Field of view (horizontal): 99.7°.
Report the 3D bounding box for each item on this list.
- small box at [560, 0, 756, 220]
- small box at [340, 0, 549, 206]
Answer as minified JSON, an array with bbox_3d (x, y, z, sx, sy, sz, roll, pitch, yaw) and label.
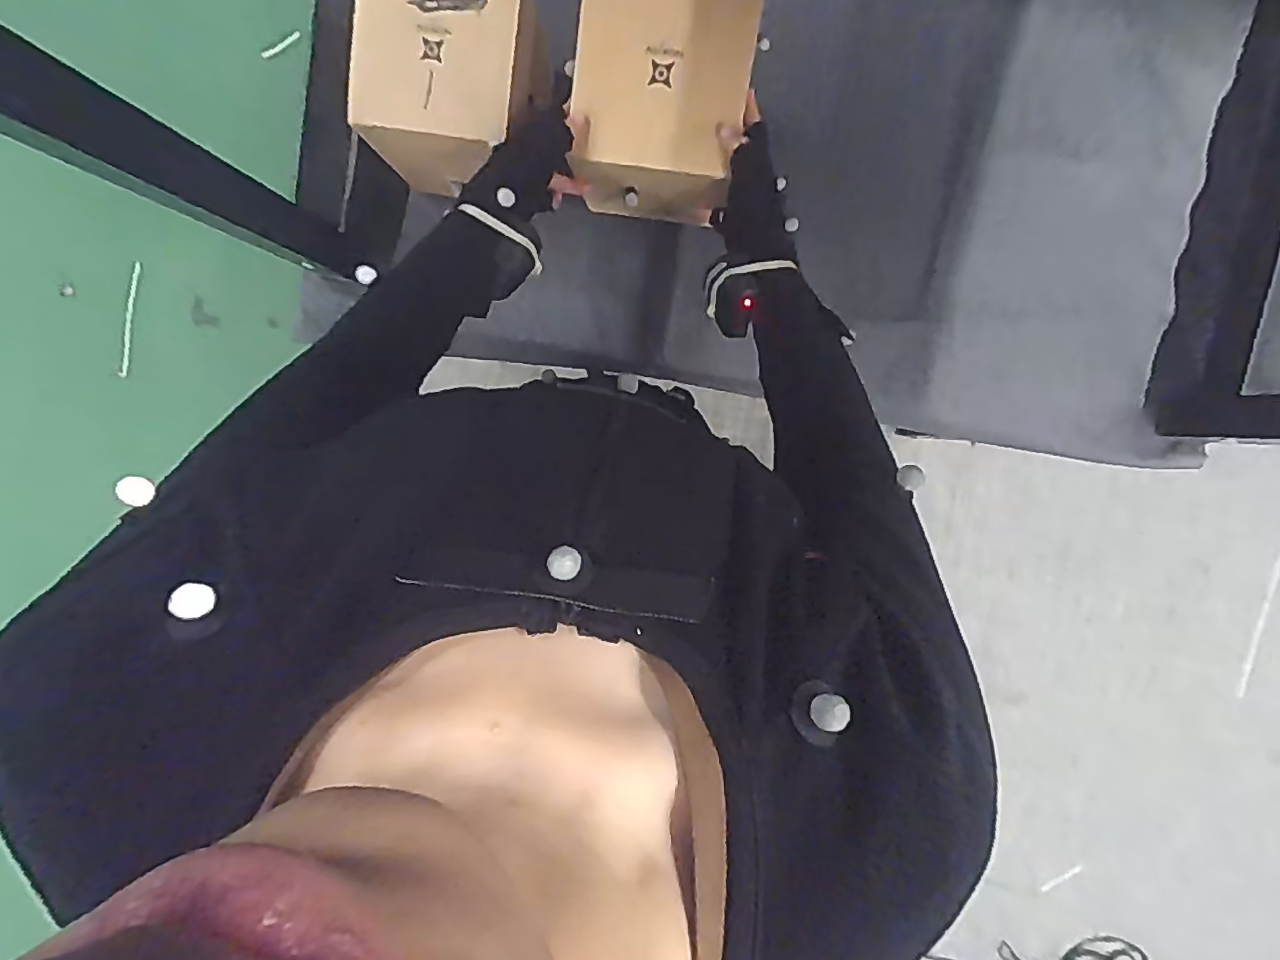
[{"bbox_3d":[0.021,-0.396,0.576,0.168,0.176,0.179,8,100,2],"label":"small box"},{"bbox_3d":[-0.206,-0.444,0.614,0.168,0.176,0.179,9,96,1],"label":"small box"}]
